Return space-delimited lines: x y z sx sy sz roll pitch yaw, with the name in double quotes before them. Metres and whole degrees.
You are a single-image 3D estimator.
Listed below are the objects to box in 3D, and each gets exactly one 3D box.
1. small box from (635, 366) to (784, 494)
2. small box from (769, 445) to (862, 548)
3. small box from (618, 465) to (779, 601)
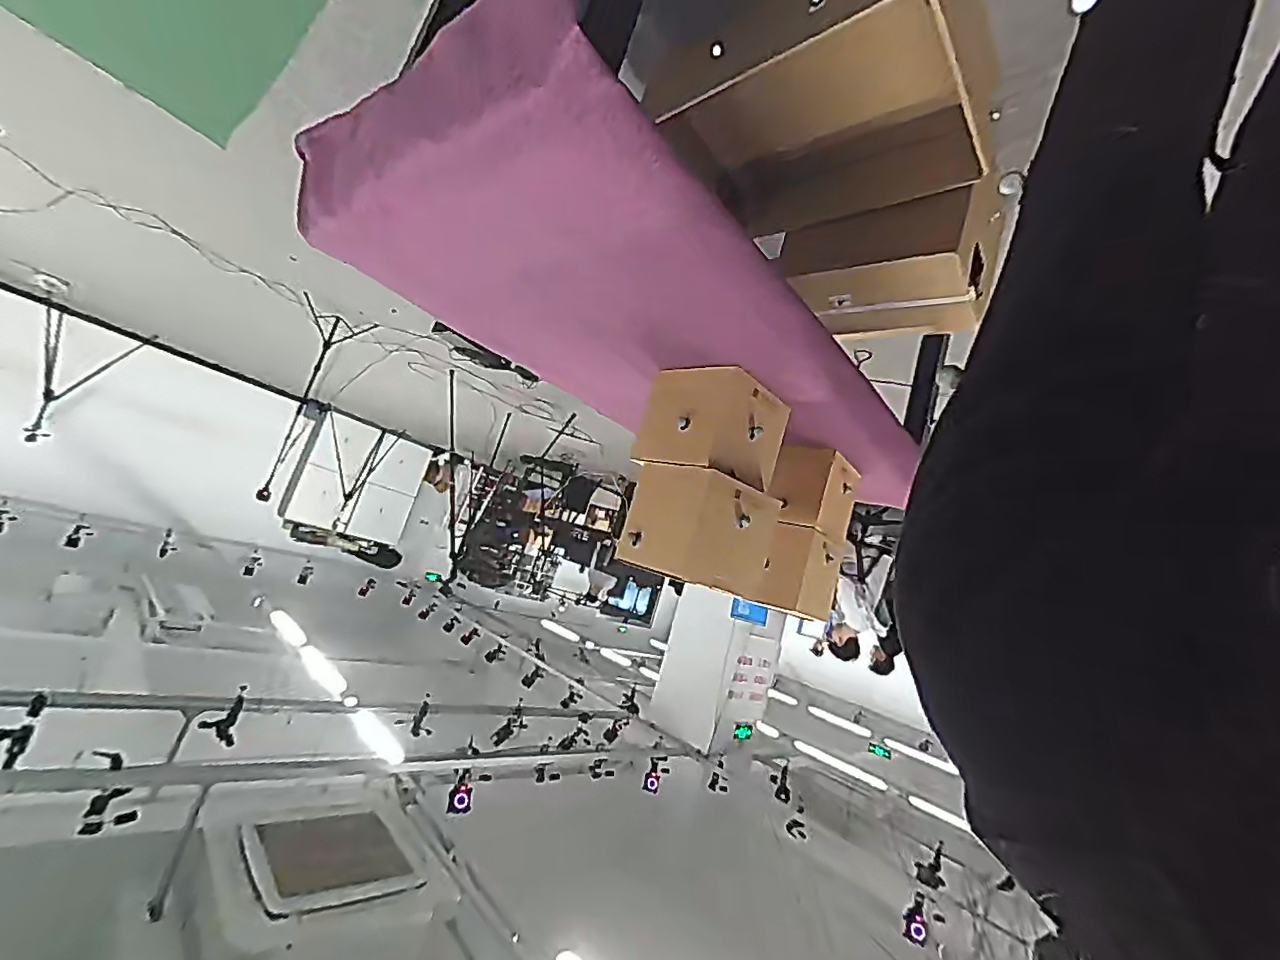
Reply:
"small box" 0.124 -0.082 0.909 0.168 0.176 0.179 26 168 -41
"small box" 0.351 0.030 1.159 0.179 0.176 0.168 7 166 42
"small box" 0.096 0.078 0.871 0.168 0.176 0.179 23 169 -35
